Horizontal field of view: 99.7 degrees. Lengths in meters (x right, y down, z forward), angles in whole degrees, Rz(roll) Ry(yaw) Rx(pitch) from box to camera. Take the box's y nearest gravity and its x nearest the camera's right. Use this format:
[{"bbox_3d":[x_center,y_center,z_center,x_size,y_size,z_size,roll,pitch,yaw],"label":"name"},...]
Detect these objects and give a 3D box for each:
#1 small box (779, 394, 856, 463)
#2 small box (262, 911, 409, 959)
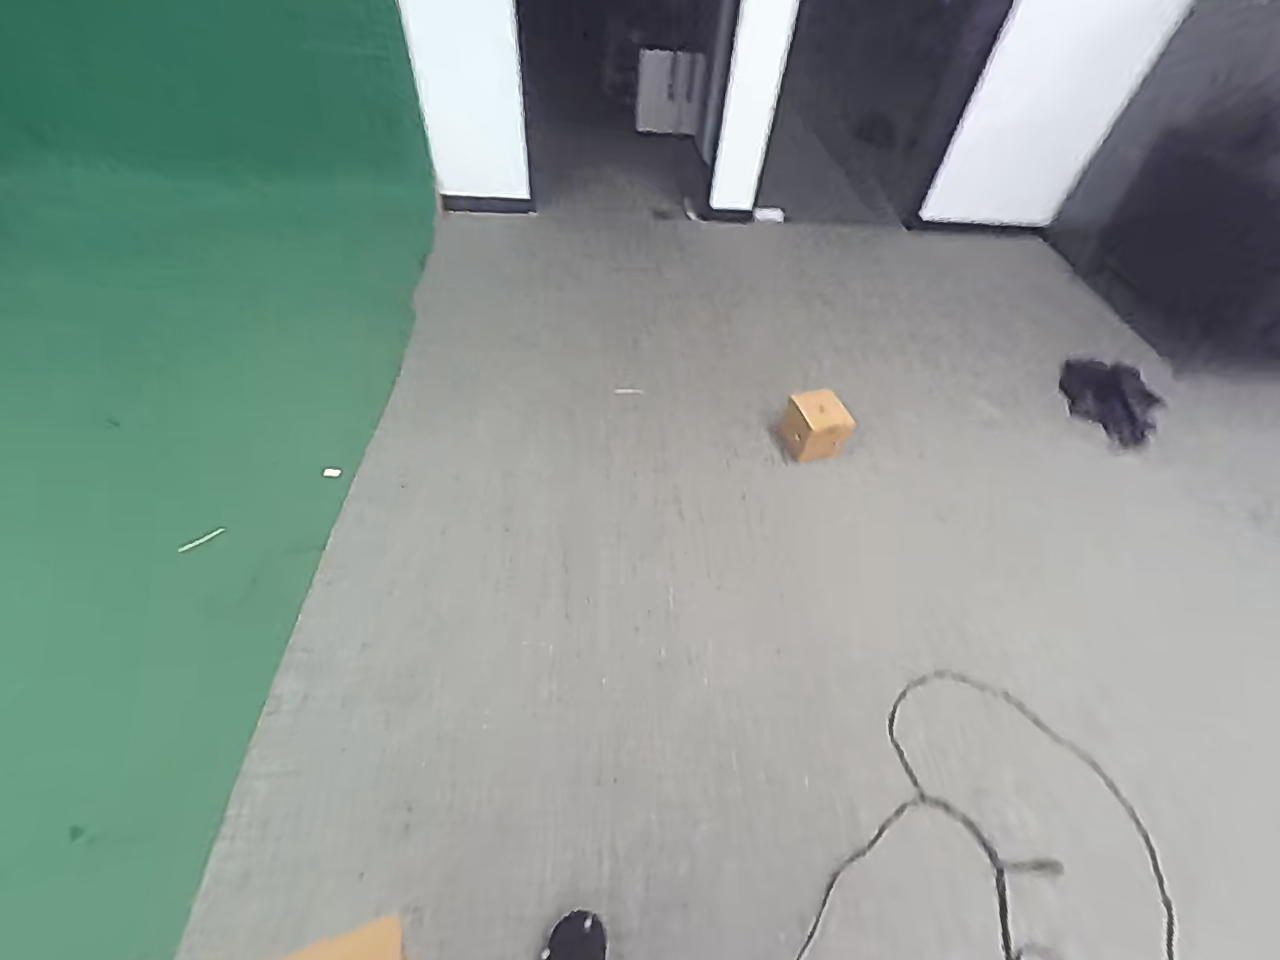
[{"bbox_3d":[0.609,-0.172,1.873,0.168,0.176,0.179,-9,50,-14],"label":"small box"},{"bbox_3d":[-0.325,0.618,0.559,0.168,0.176,0.179,-5,6,-24],"label":"small box"}]
